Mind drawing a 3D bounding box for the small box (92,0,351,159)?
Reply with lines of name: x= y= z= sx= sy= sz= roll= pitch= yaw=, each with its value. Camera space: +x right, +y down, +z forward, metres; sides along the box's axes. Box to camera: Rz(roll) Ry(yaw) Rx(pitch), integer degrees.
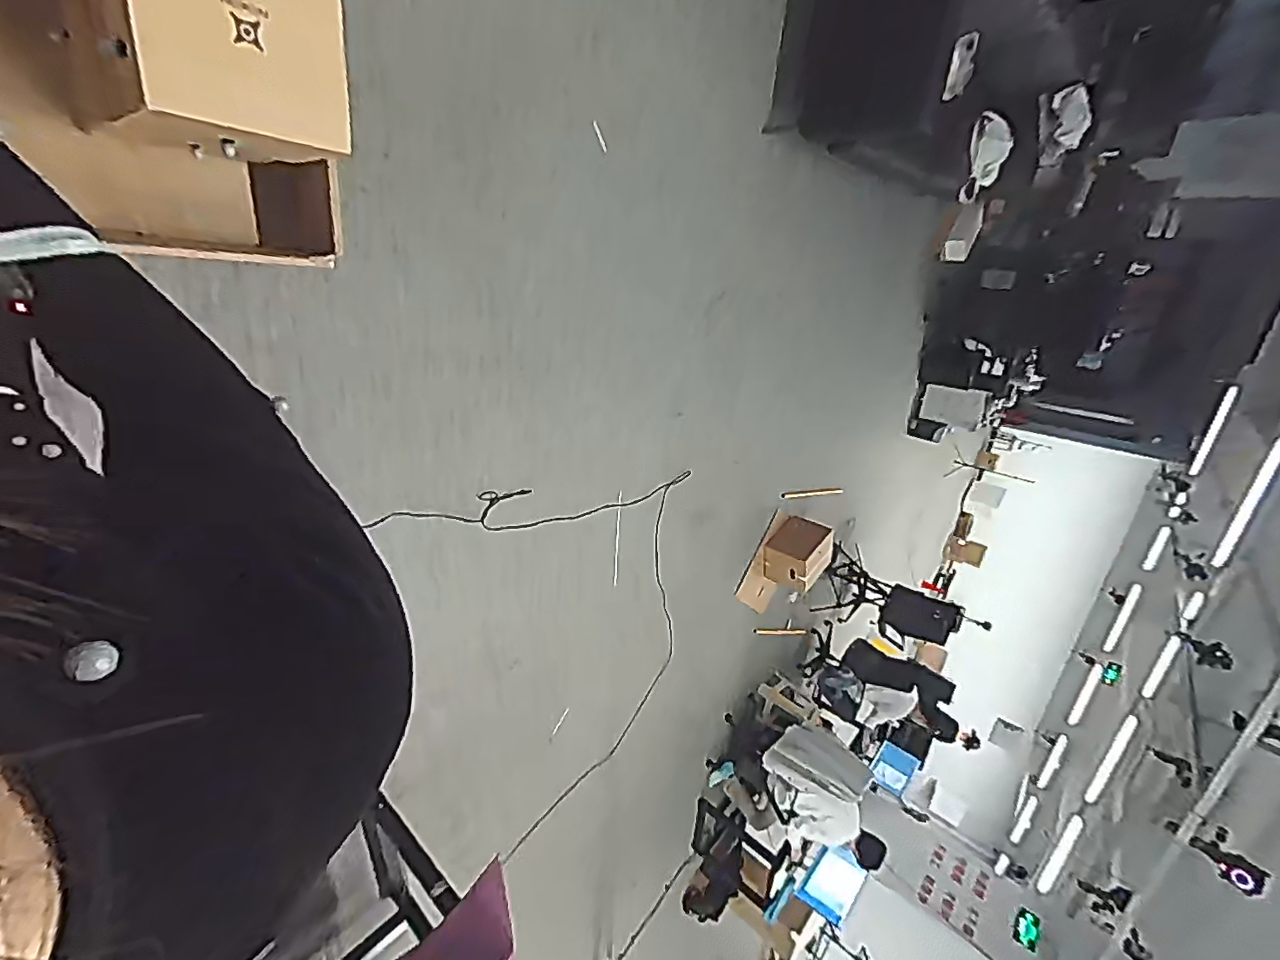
small box: x=-0.403 y=-0.428 z=0.524 sx=0.168 sy=0.176 sz=0.179 roll=-16 pitch=120 yaw=-47
